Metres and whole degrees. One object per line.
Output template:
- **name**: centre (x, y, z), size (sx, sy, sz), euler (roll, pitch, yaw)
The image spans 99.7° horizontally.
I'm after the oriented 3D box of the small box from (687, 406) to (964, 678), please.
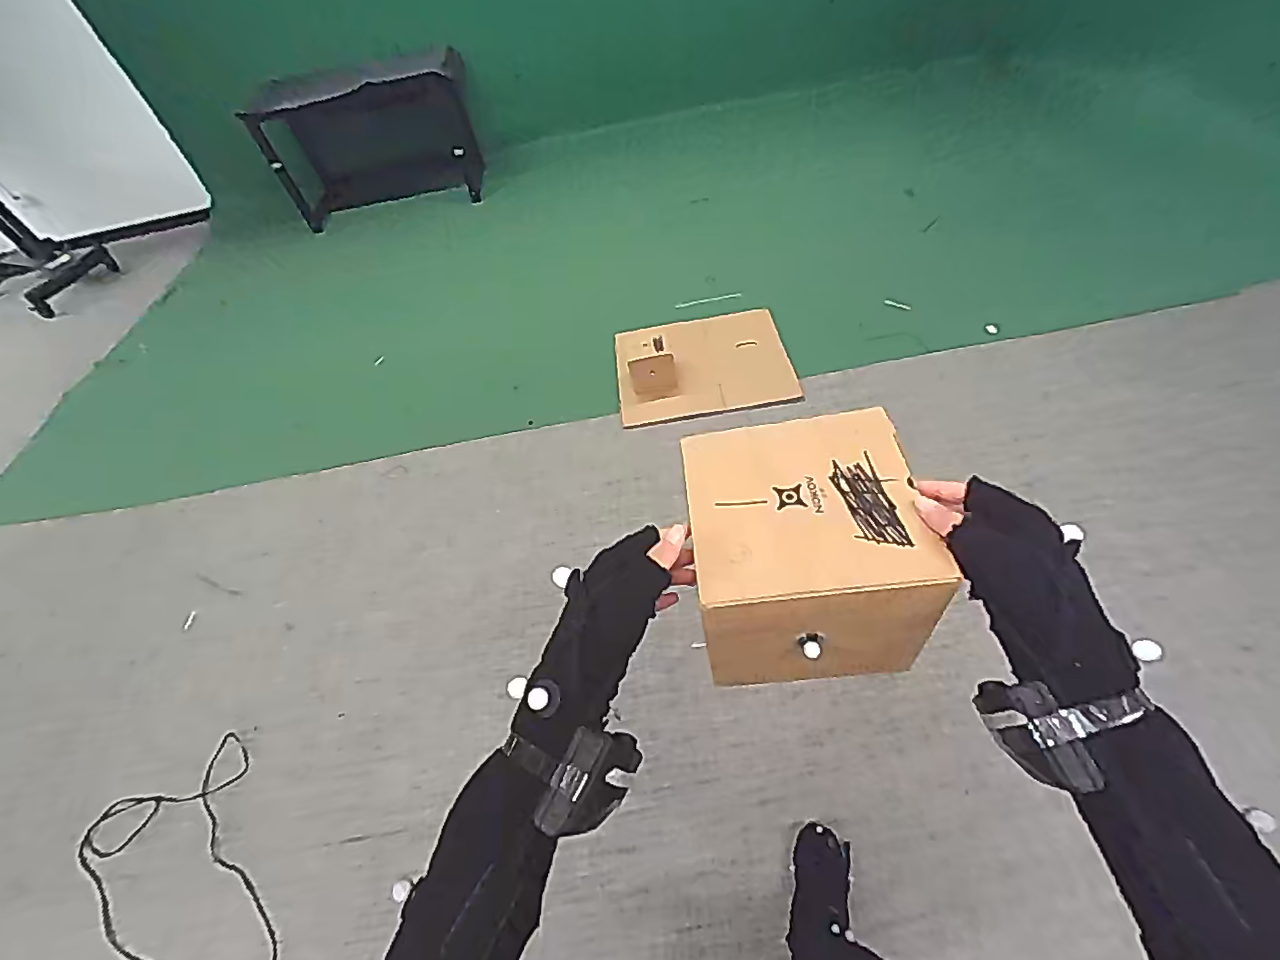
- **small box**: centre (0.140, 0.060, 0.475), size (0.179, 0.176, 0.168), euler (-7, 49, 7)
